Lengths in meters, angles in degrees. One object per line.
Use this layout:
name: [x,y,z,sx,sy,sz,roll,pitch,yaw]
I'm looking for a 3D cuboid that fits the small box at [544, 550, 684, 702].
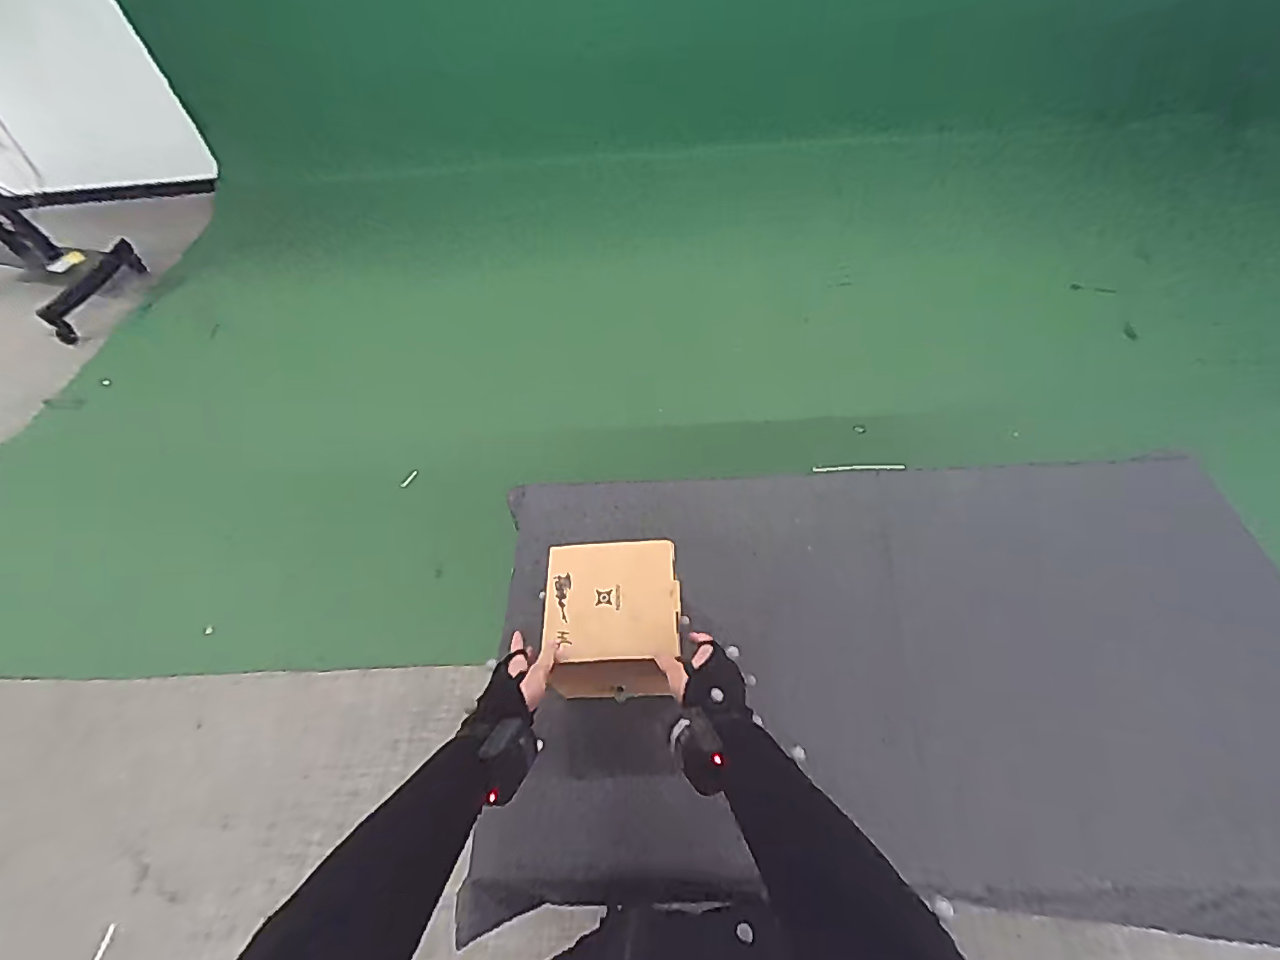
small box: [-0.030,0.213,0.777,0.179,0.176,0.168,-2,54,2]
